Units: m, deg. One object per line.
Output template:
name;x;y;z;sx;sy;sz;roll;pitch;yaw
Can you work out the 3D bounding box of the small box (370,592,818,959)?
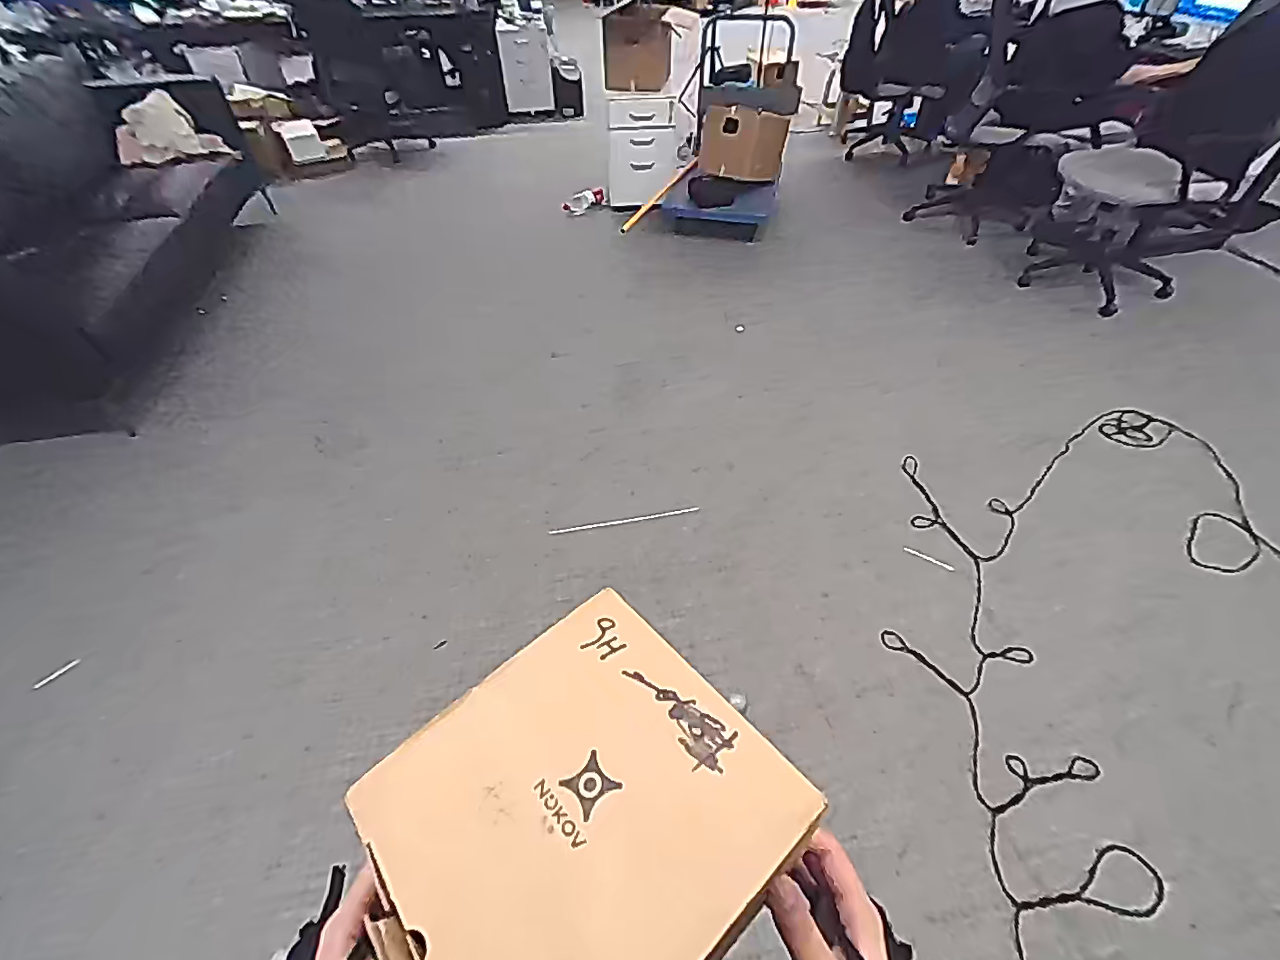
small box;-0.018;0.212;0.329;0.179;0.176;0.168;-35;52;-24
